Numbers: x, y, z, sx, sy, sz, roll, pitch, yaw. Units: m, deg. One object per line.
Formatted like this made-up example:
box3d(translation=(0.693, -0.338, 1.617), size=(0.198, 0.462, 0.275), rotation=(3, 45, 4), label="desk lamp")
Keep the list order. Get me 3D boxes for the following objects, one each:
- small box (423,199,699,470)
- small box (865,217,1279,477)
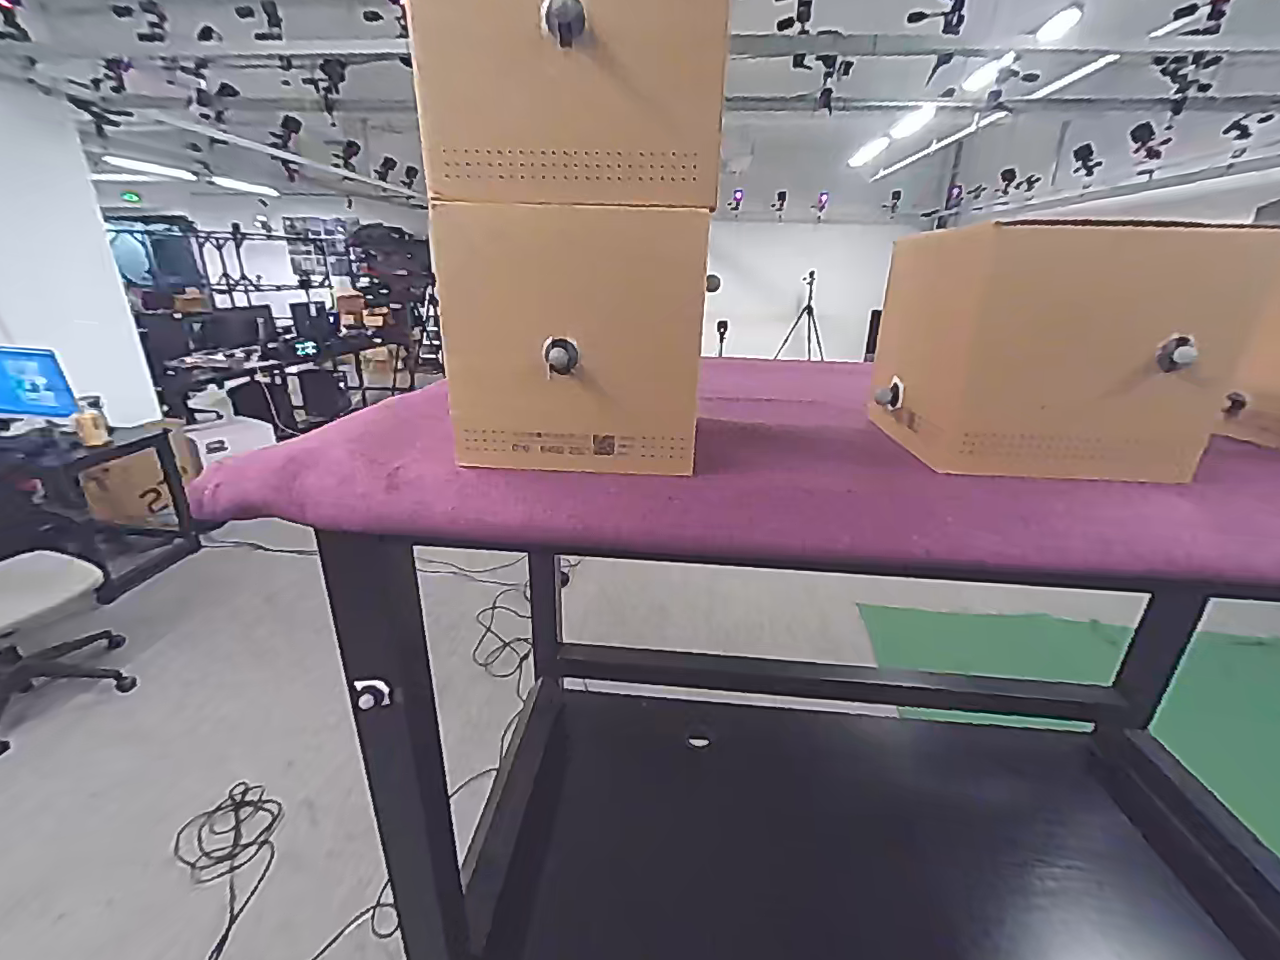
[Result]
box3d(translation=(-0.043, -0.113, 0.417), size=(0.168, 0.176, 0.179), rotation=(3, 22, 2), label="small box")
box3d(translation=(0.299, -0.106, 0.424), size=(0.179, 0.176, 0.168), rotation=(1, 21, 3), label="small box")
